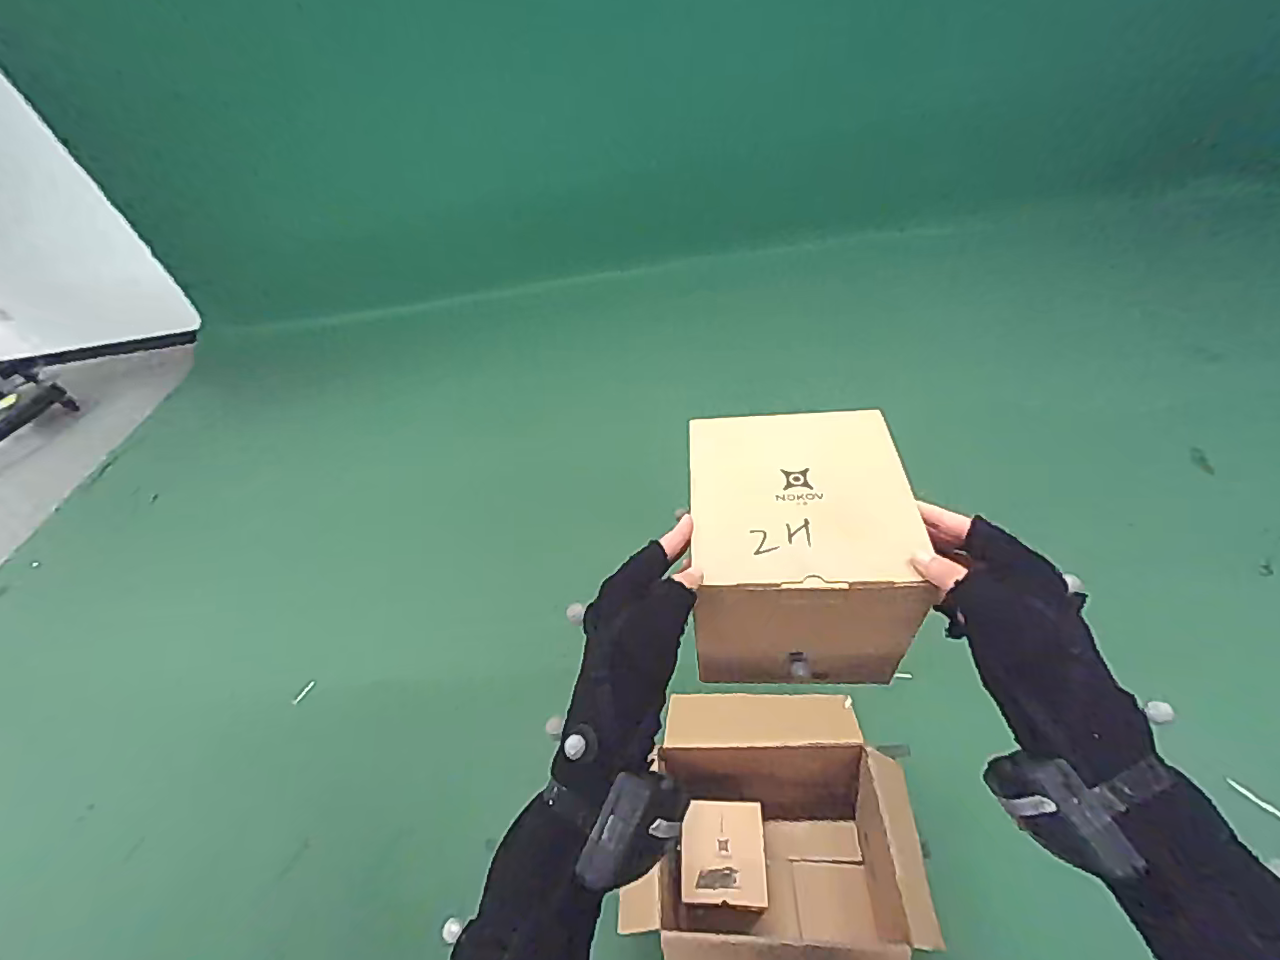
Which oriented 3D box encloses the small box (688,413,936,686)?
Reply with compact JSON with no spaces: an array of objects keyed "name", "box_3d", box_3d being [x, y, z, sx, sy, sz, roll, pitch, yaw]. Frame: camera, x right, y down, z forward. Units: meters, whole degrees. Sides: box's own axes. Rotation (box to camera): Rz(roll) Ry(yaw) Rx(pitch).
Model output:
[{"name":"small box","box_3d":[0.127,0.062,0.478,0.168,0.176,0.179,-2,48,7]}]
